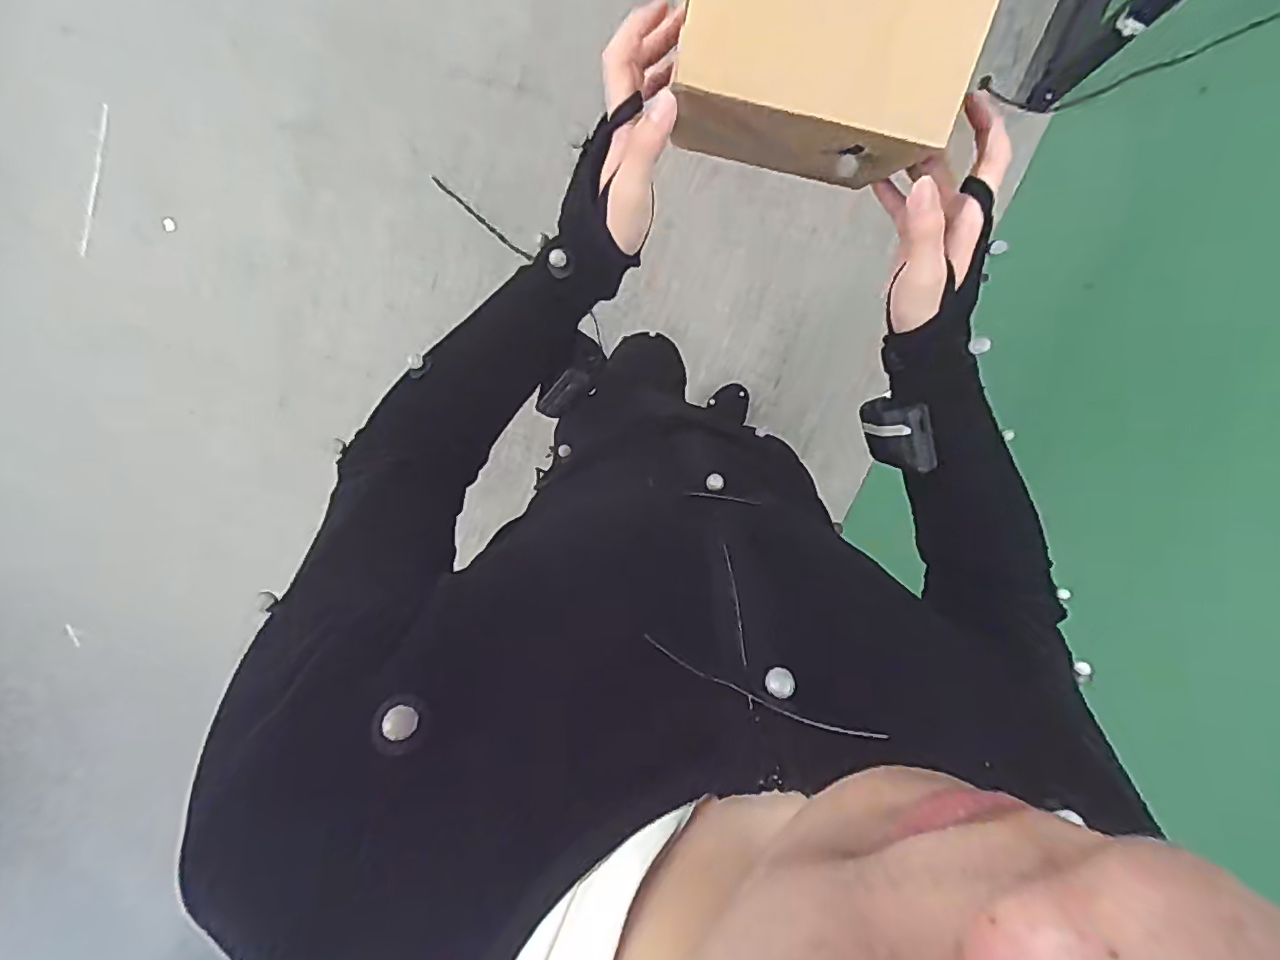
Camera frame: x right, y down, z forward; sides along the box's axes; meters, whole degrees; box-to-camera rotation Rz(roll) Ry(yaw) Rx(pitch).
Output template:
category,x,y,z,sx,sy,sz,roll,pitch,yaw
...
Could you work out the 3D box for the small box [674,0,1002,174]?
category,x,y,z,sx,sy,sz,roll,pitch,yaw
small box,0.126,-0.326,0.370,0.179,0.176,0.168,13,111,-1
